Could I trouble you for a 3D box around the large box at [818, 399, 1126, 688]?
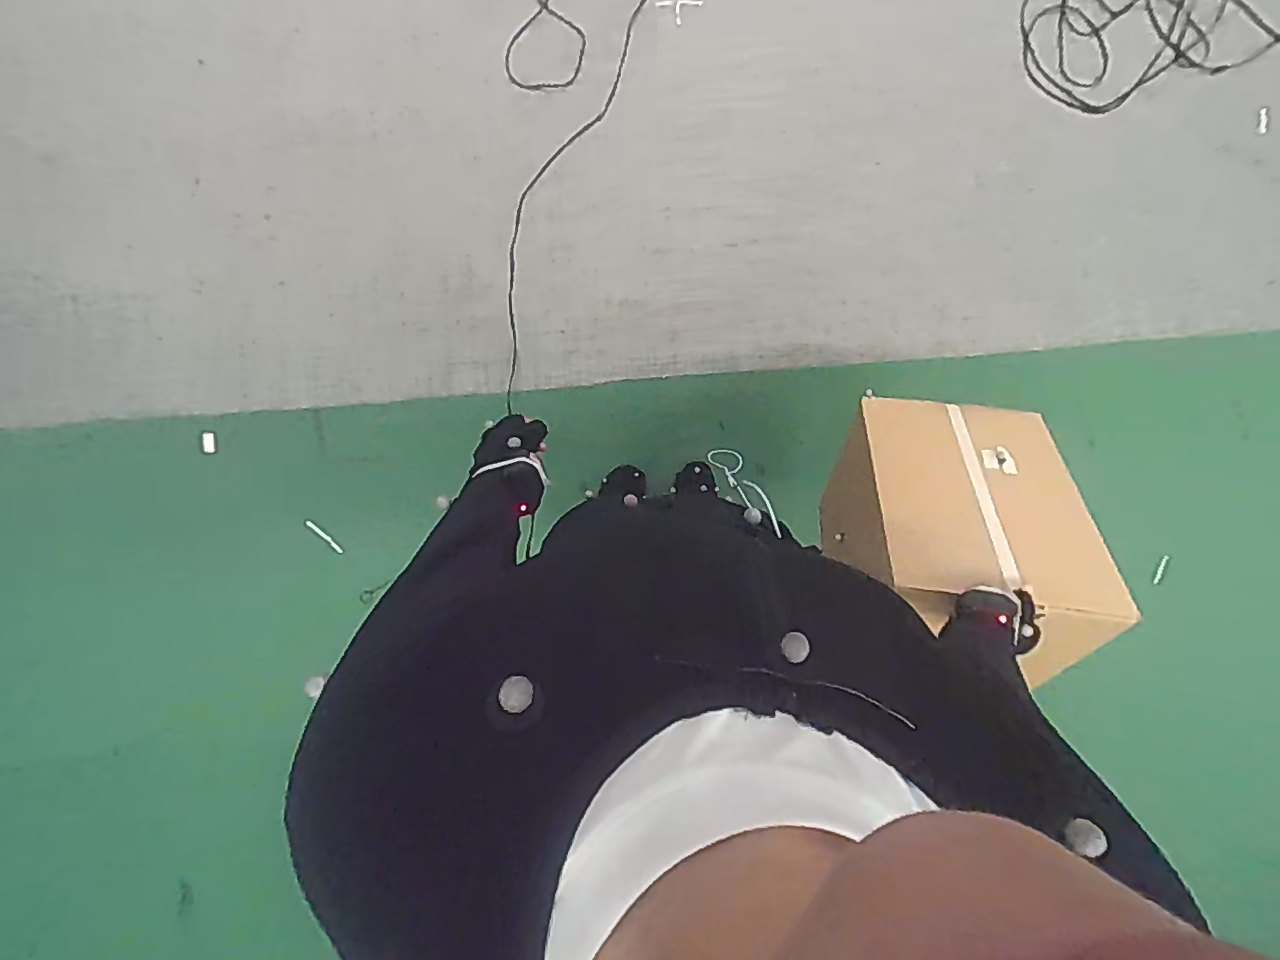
[{"bbox_3d":[0.524,0.109,0.972,0.320,0.320,0.408,7,48,4],"label":"large box"}]
